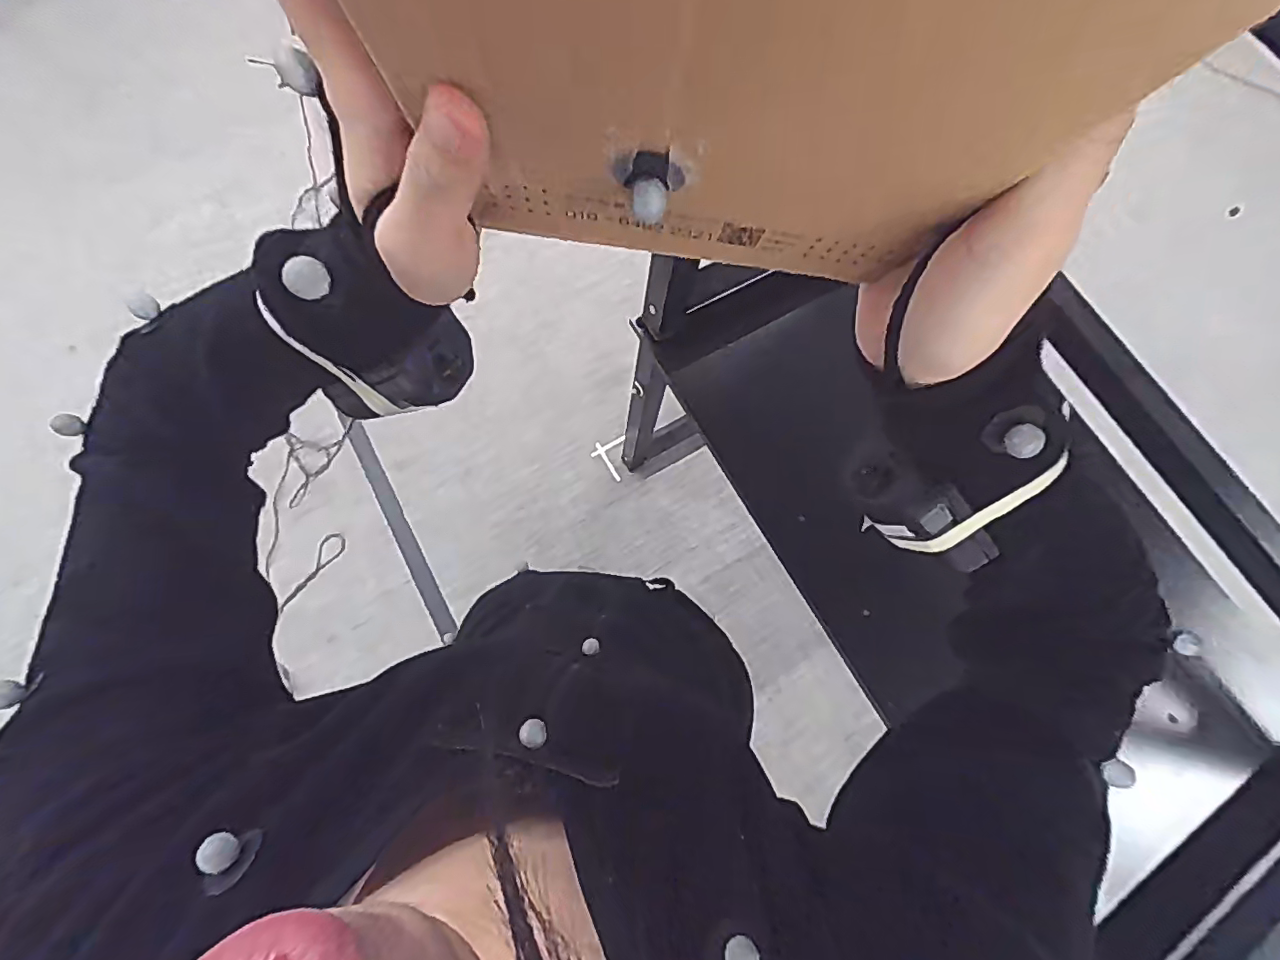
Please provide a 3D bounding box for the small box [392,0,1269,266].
[{"bbox_3d":[0.030,-0.174,0.122,0.168,0.176,0.179,6,92,-4],"label":"small box"}]
